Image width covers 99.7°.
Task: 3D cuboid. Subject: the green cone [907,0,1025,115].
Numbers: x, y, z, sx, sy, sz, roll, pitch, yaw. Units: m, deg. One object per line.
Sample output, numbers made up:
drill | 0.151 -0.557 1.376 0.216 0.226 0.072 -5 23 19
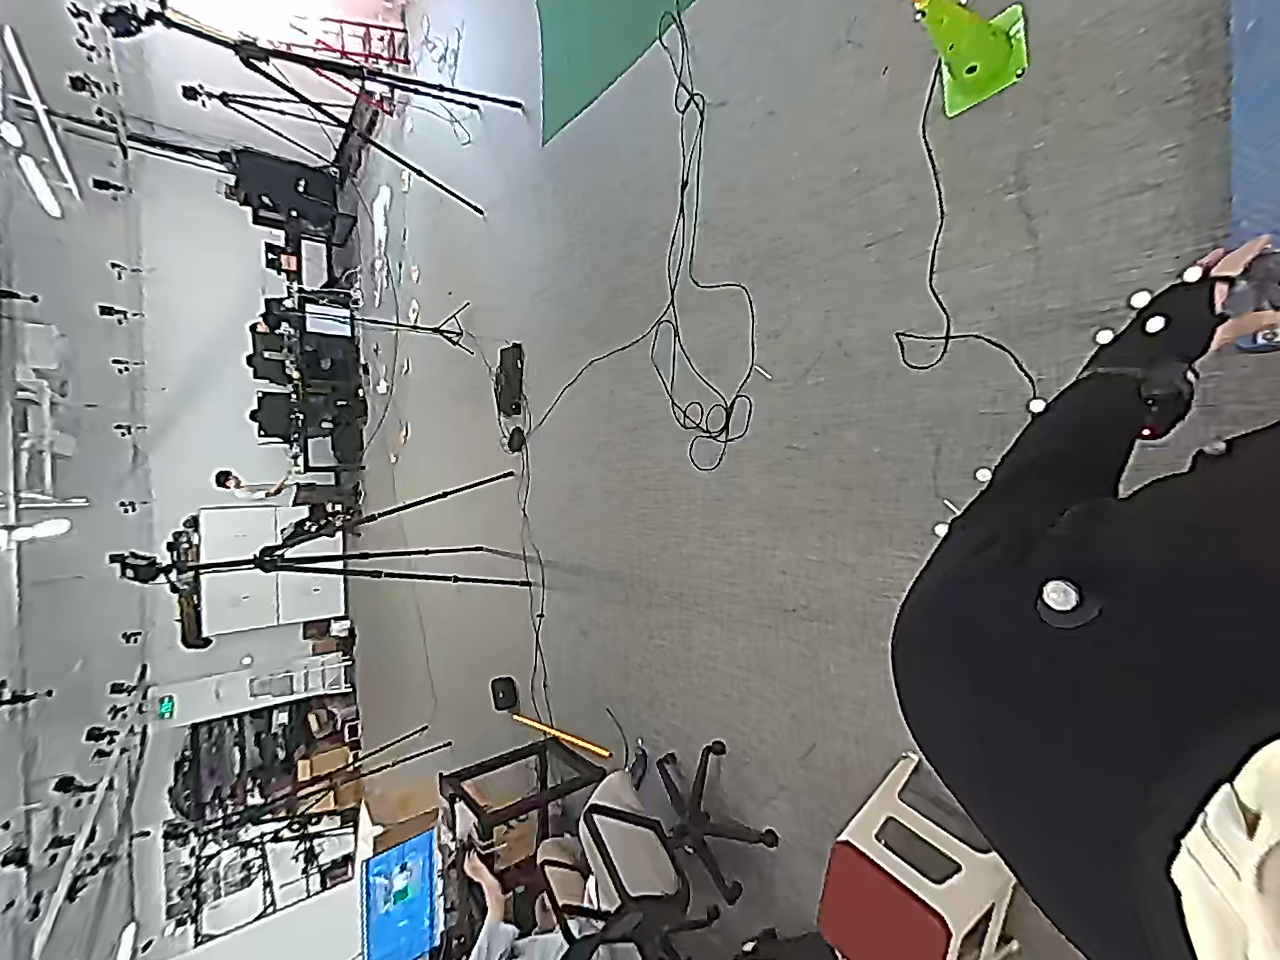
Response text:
green cone | 0.795 -1.141 1.378 0.202 0.368 0.200 -7 86 53
